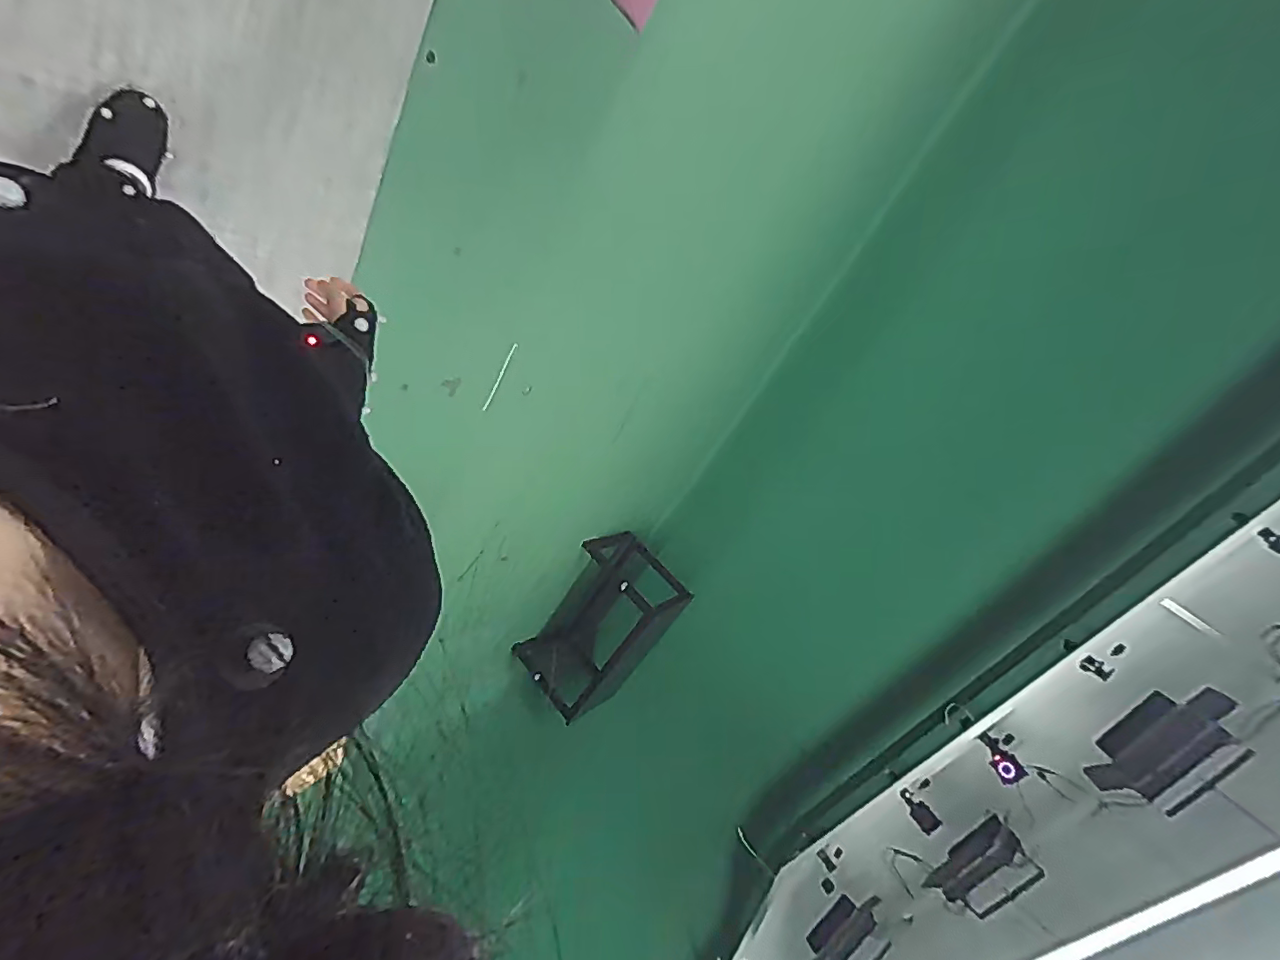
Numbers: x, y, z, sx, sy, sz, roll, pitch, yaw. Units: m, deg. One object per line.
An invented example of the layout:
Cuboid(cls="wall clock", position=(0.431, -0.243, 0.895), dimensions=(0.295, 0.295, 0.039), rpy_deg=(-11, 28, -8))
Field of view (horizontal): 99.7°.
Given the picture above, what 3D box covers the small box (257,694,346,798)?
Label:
Cuboid(cls="small box", position=(-0.948, 0.732, 1.510), dimensions=(0.168, 0.176, 0.179), rpy_deg=(-19, 143, -47))
